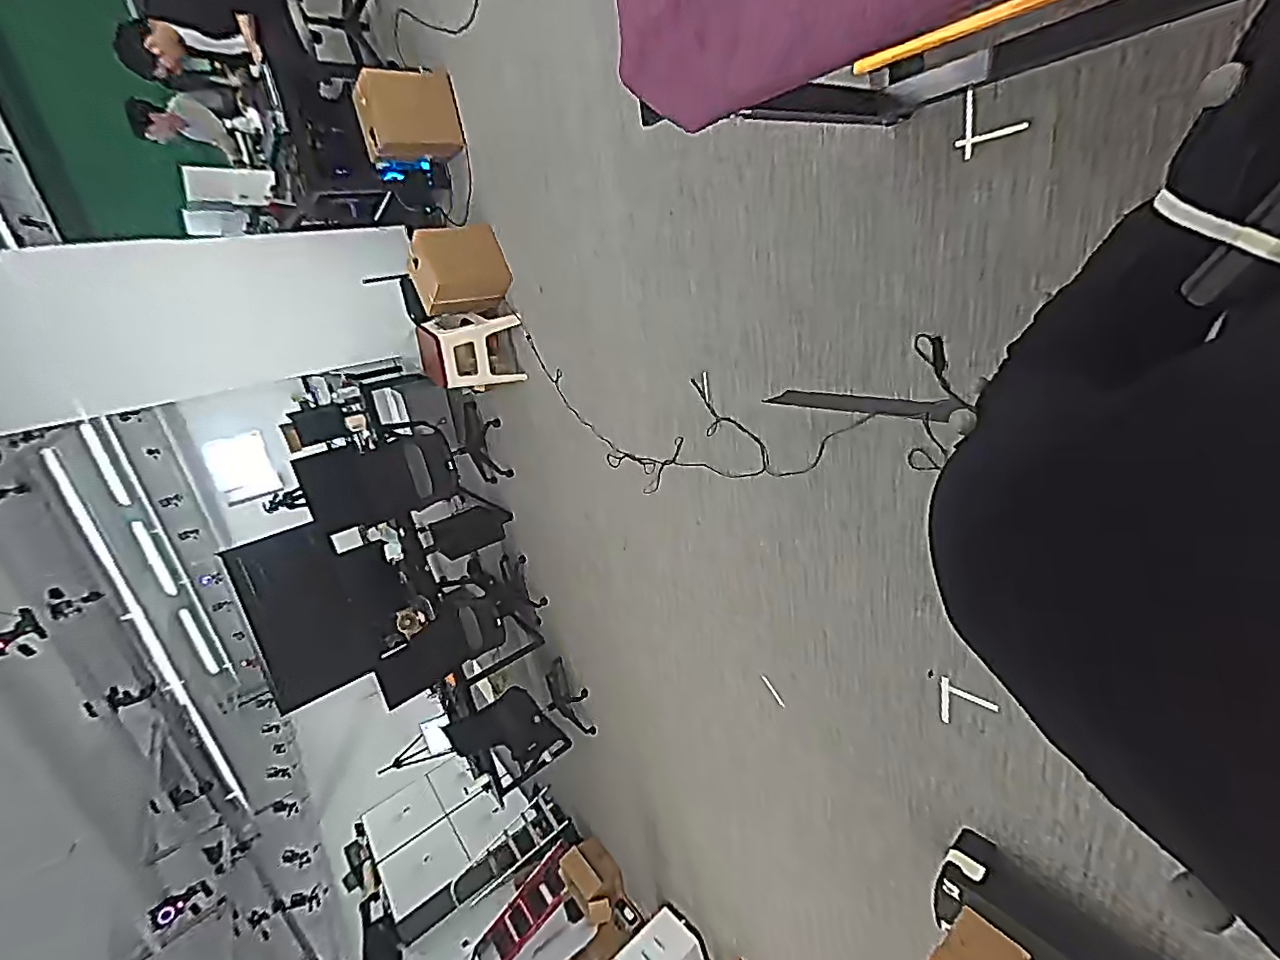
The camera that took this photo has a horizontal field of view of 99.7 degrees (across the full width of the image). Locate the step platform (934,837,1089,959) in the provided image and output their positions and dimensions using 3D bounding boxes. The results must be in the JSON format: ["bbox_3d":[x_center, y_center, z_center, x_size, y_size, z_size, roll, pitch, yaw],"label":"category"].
[{"bbox_3d":[1.211,1.380,1.524,0.684,0.204,0.286,16,123,49],"label":"step platform"}]
